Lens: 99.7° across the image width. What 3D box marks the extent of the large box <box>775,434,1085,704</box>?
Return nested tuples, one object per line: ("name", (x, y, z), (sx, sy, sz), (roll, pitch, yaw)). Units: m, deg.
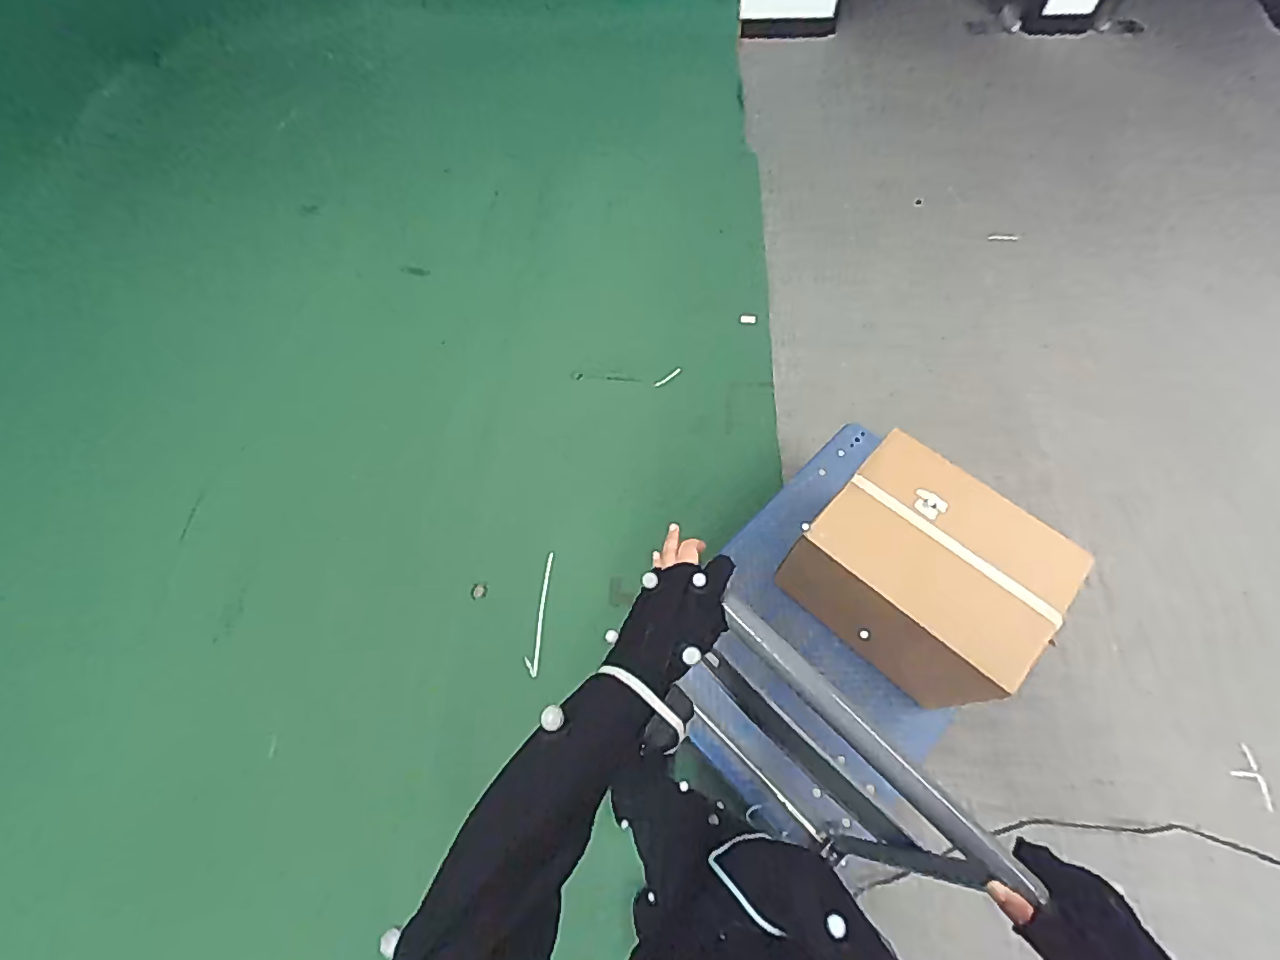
("large box", (0.550, 0.188, 1.106), (0.408, 0.320, 0.320), (39, 70, 20))
